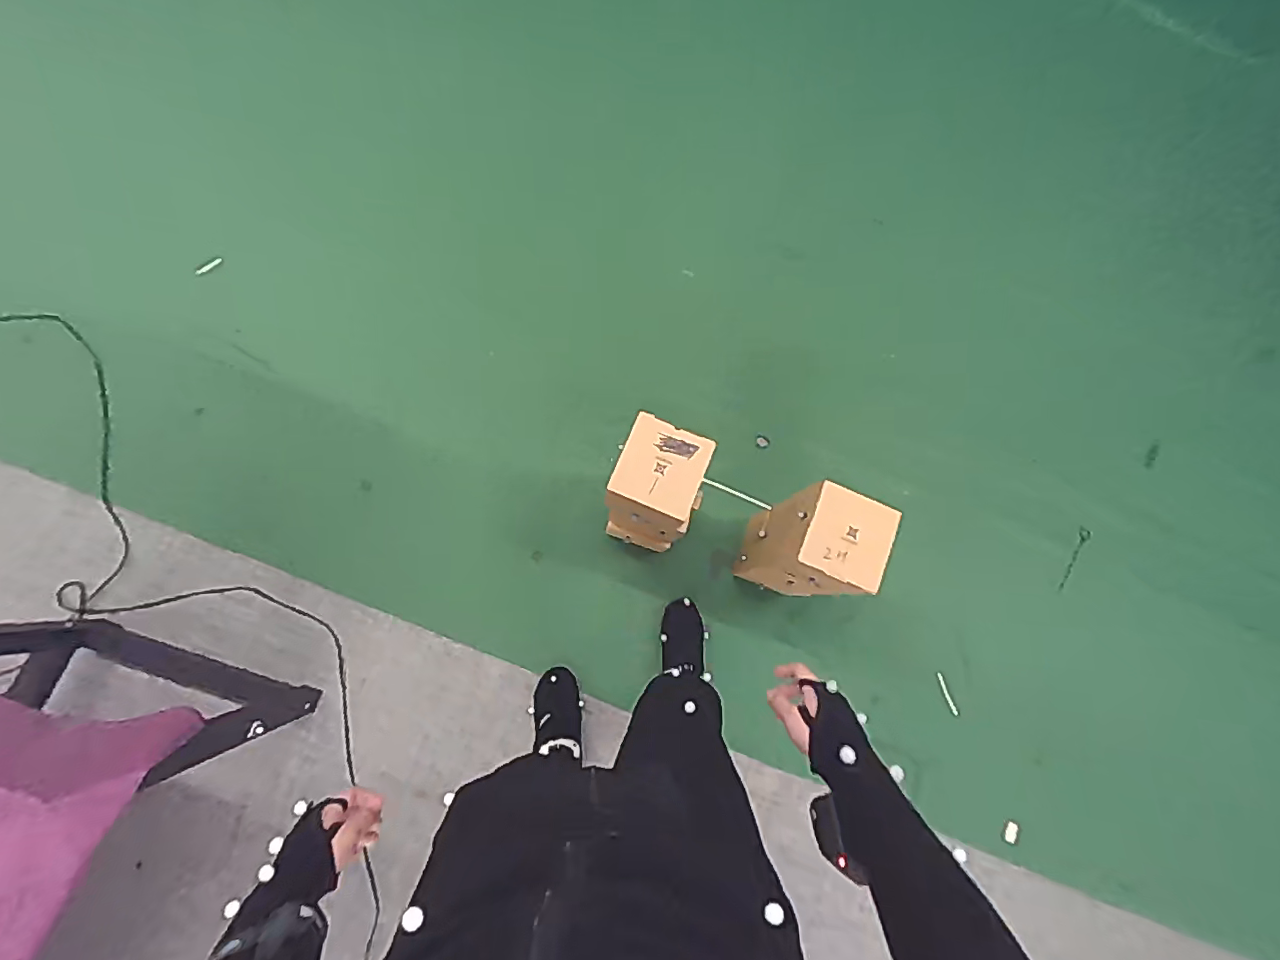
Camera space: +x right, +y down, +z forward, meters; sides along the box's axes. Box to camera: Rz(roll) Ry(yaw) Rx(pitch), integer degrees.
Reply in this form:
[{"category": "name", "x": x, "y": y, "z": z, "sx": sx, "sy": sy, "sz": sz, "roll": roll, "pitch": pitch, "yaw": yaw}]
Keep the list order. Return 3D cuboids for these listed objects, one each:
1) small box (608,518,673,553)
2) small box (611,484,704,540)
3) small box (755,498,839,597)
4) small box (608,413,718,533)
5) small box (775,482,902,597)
[{"category": "small box", "x": 0.020, "y": 0.085, "z": 1.428, "sx": 0.168, "sy": 0.176, "sz": 0.179, "roll": 20, "pitch": 76, "yaw": -1}, {"category": "small box", "x": 0.039, "y": 0.037, "z": 1.274, "sx": 0.179, "sy": 0.176, "sz": 0.168, "roll": 19, "pitch": 76, "yaw": 0}, {"category": "small box", "x": 0.387, "y": 0.162, "z": 1.276, "sx": 0.168, "sy": 0.176, "sz": 0.179, "roll": 23, "pitch": 79, "yaw": -1}, {"category": "small box", "x": 0.039, "y": -0.006, "z": 1.115, "sx": 0.168, "sy": 0.176, "sz": 0.179, "roll": 23, "pitch": 76, "yaw": 0}, {"category": "small box", "x": 0.399, "y": 0.127, "z": 1.115, "sx": 0.168, "sy": 0.176, "sz": 0.179, "roll": 24, "pitch": 78, "yaw": 0}]
